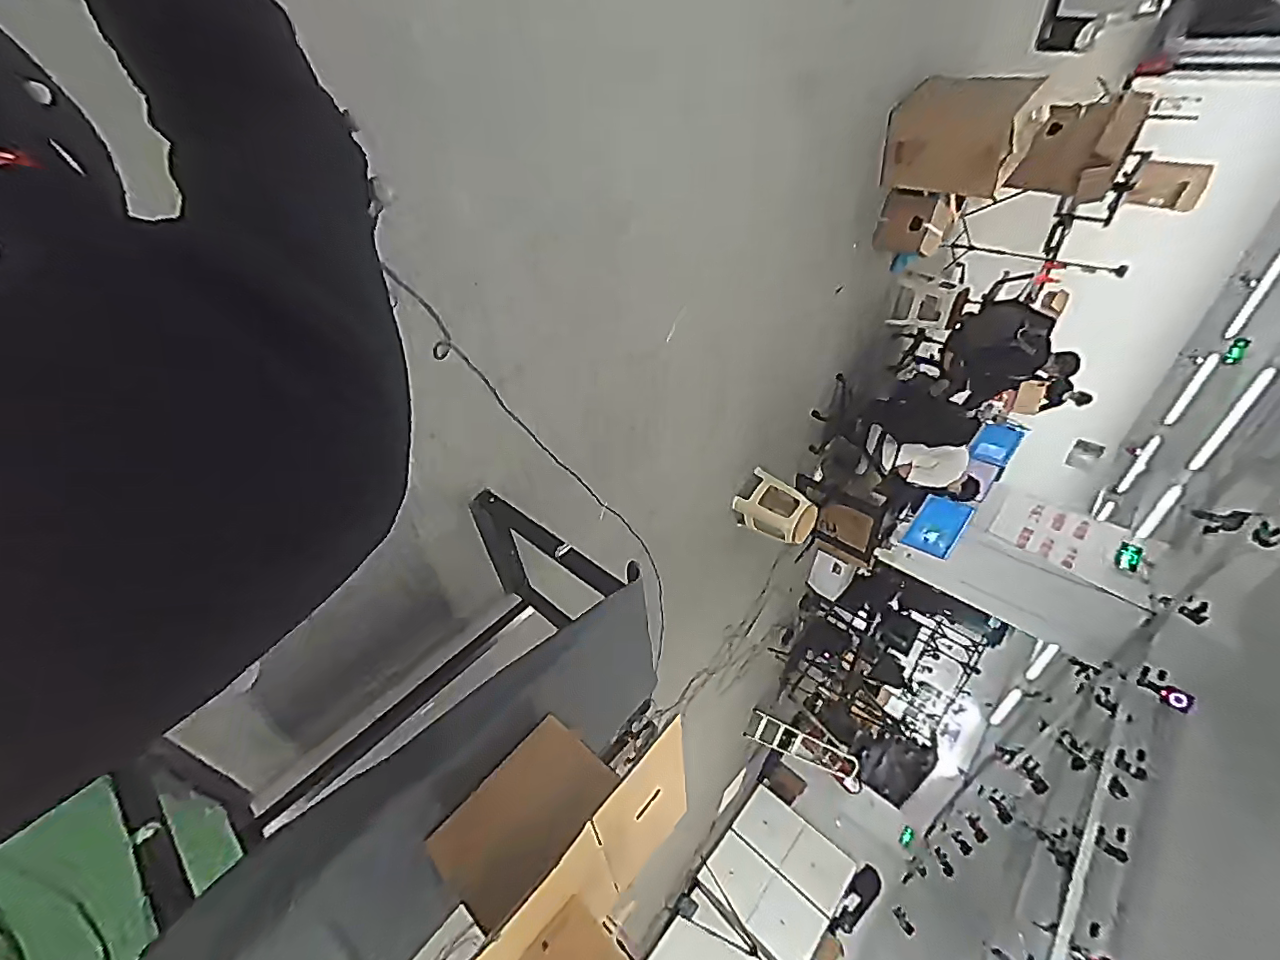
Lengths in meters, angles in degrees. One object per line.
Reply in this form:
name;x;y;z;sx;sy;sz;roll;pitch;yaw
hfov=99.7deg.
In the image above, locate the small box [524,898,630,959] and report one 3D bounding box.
small box;-0.125;1.041;1.147;0.168;0.176;0.179;-36;140;-31
